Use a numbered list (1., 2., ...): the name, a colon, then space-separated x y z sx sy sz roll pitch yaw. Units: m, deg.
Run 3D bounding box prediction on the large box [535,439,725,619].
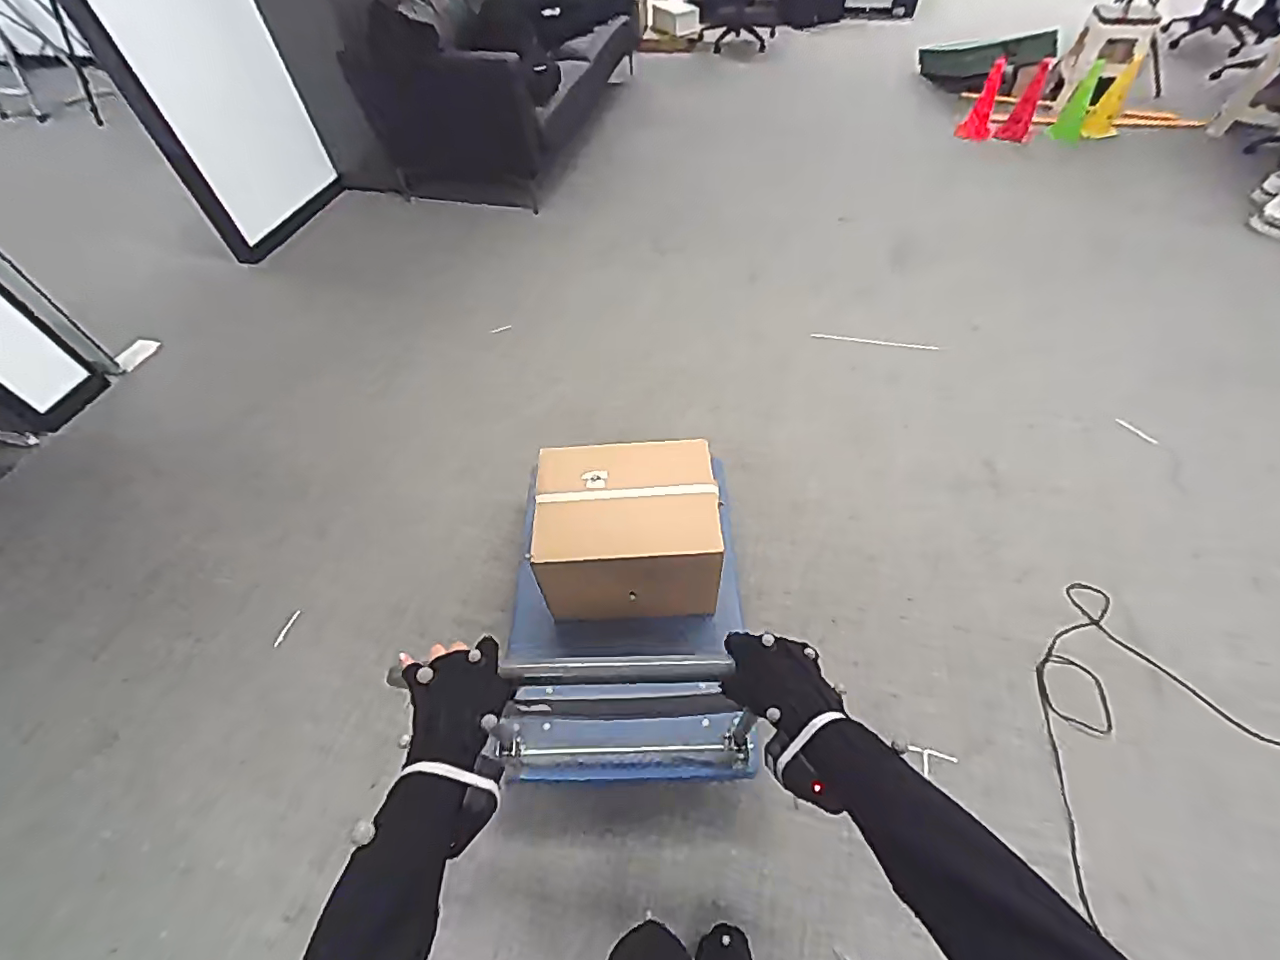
1. large box: -0.020 0.128 1.328 0.408 0.320 0.320 -5 52 1
